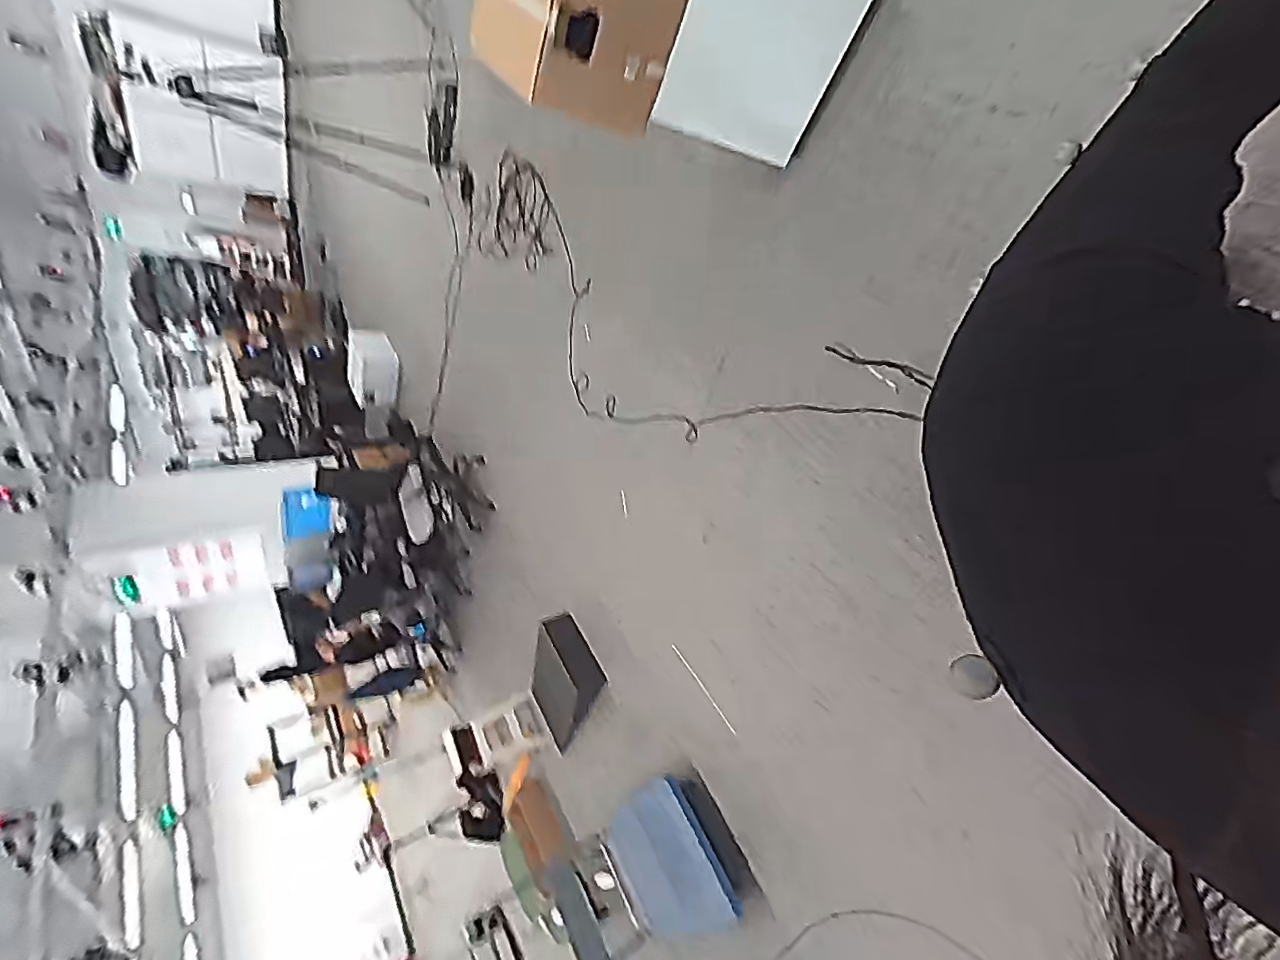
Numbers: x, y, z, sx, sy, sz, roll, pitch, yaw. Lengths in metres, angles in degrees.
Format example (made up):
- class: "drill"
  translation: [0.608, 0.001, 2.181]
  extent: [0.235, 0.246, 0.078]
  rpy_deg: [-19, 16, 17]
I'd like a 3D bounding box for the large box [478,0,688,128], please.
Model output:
- class: "large box"
  translation: [-0.144, -1.099, 1.273]
  extent: [0.408, 0.320, 0.320]
  rpy_deg: [56, 136, 30]
